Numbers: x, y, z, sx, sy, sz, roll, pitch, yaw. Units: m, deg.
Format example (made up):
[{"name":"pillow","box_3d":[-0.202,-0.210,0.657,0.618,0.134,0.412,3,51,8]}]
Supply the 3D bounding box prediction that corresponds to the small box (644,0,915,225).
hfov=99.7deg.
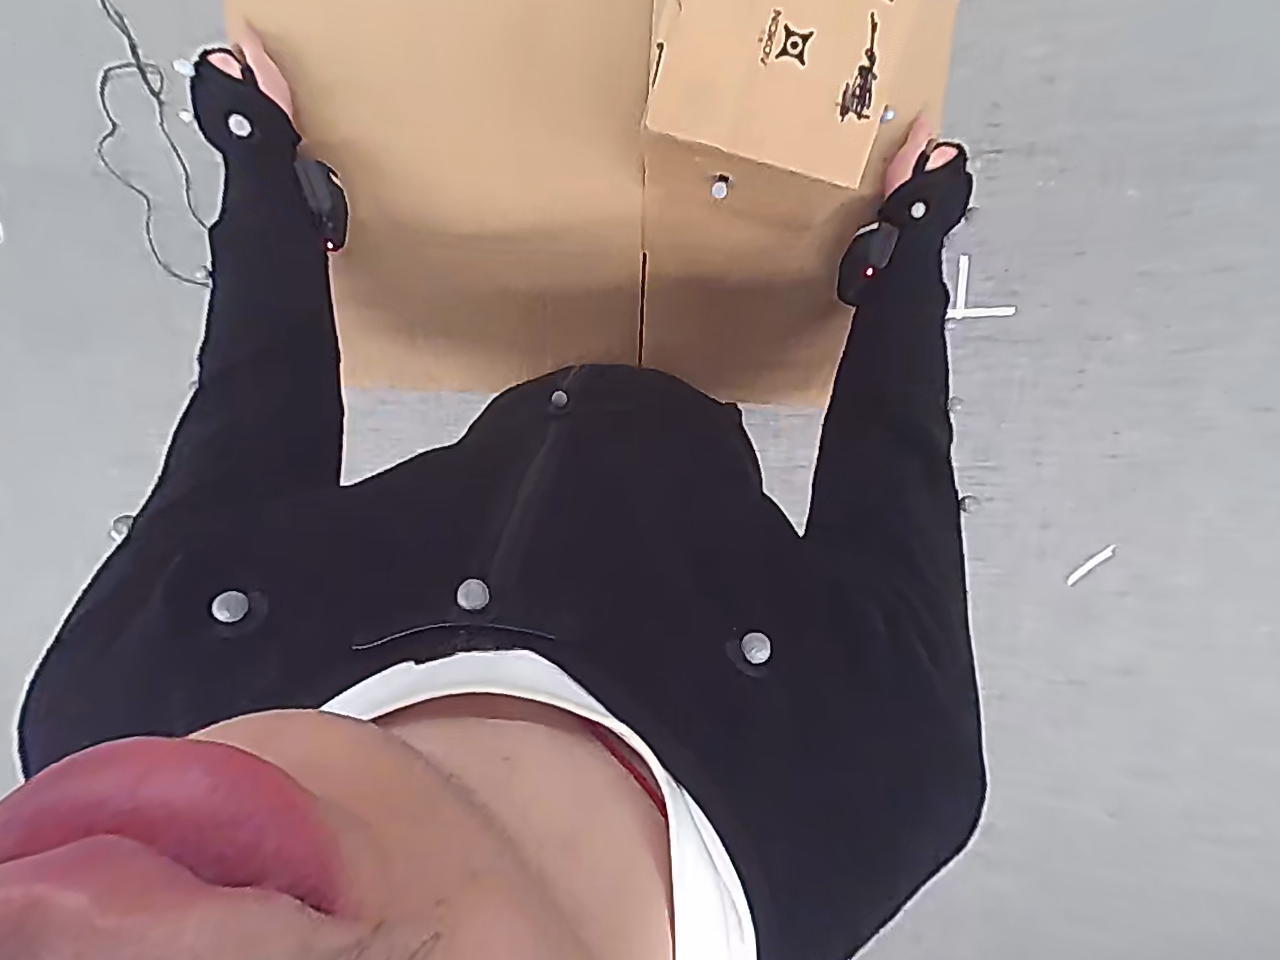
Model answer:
[{"name":"small box","box_3d":[0.112,-0.349,0.484,0.179,0.176,0.168,16,103,0]}]
